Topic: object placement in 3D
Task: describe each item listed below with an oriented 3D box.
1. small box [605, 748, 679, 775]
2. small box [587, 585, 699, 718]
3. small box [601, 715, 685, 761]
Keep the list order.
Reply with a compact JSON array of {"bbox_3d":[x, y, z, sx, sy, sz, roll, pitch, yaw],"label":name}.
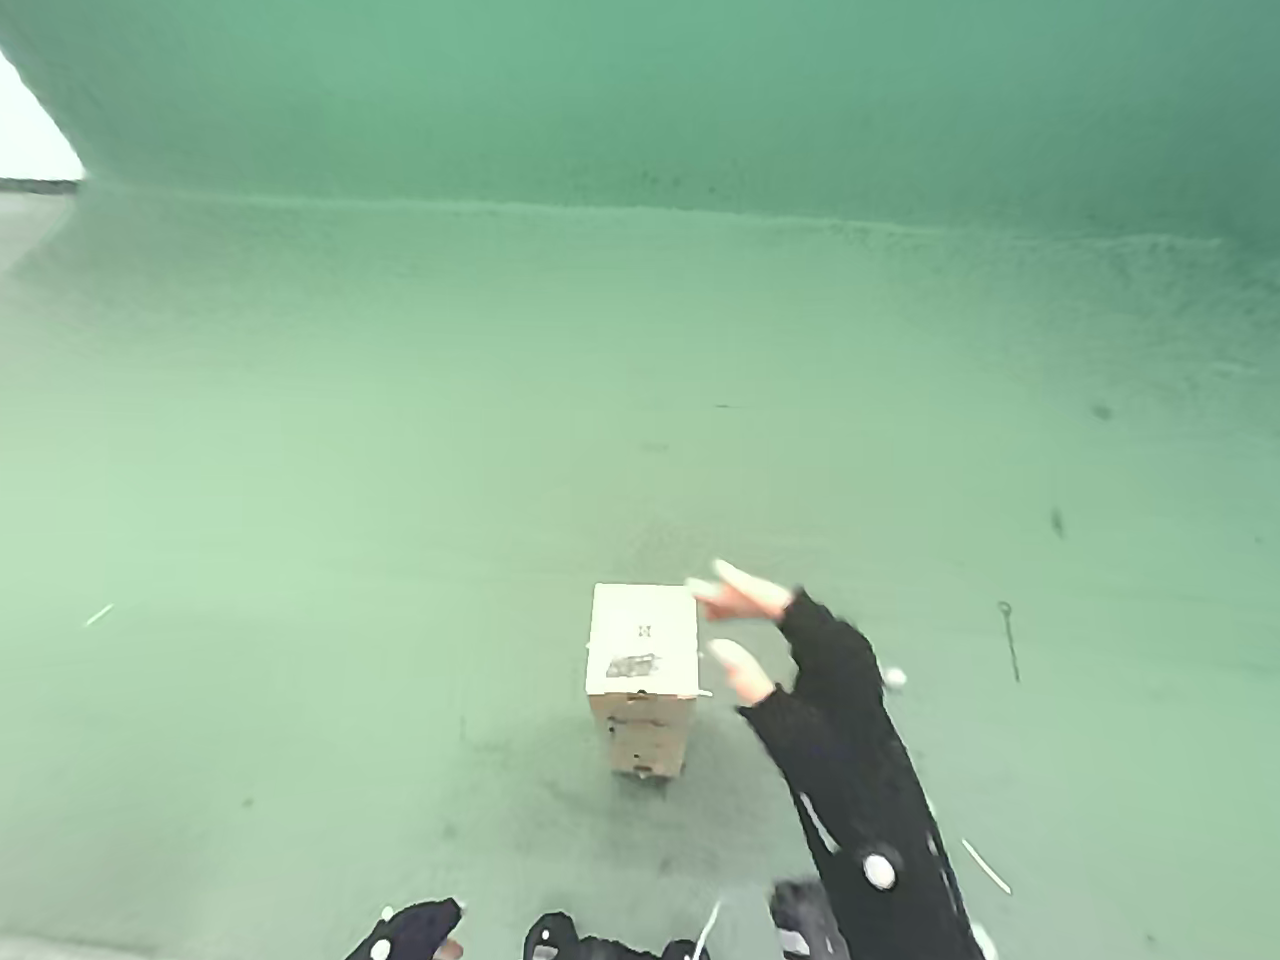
[{"bbox_3d":[0.012,0.582,1.282,0.168,0.176,0.179,4,53,4],"label":"small box"},{"bbox_3d":[0.005,0.287,0.890,0.168,0.176,0.179,-1,55,-1],"label":"small box"},{"bbox_3d":[0.008,0.485,1.153,0.168,0.176,0.179,2,54,2],"label":"small box"}]
